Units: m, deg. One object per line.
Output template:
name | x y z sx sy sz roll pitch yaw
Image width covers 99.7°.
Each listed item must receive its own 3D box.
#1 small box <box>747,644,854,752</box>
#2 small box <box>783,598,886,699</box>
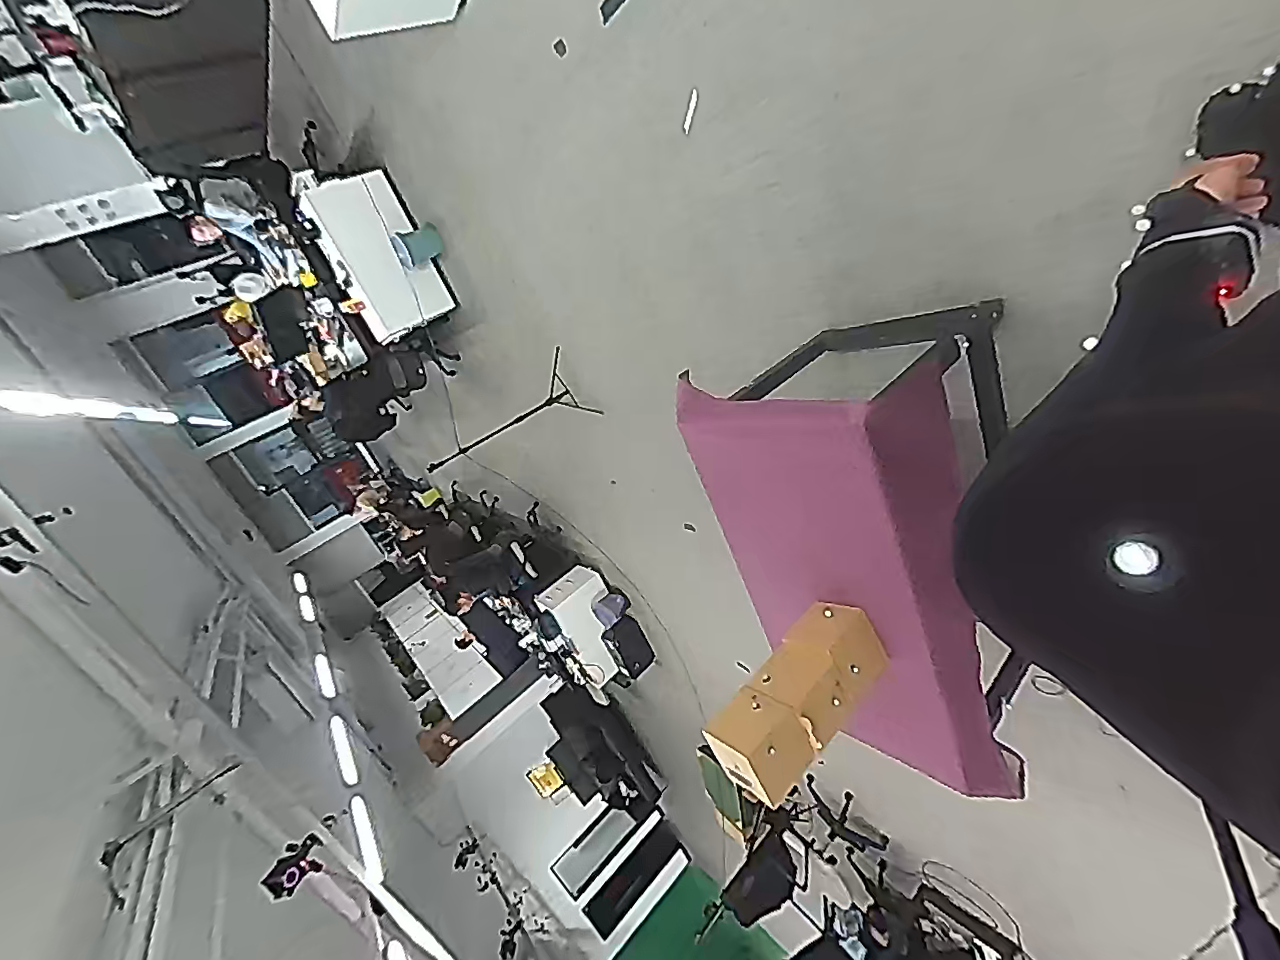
small box | 0.419 0.556 1.407 0.179 0.176 0.168 0 124 58
small box | 0.532 0.450 1.467 0.179 0.176 0.168 60 152 -12
